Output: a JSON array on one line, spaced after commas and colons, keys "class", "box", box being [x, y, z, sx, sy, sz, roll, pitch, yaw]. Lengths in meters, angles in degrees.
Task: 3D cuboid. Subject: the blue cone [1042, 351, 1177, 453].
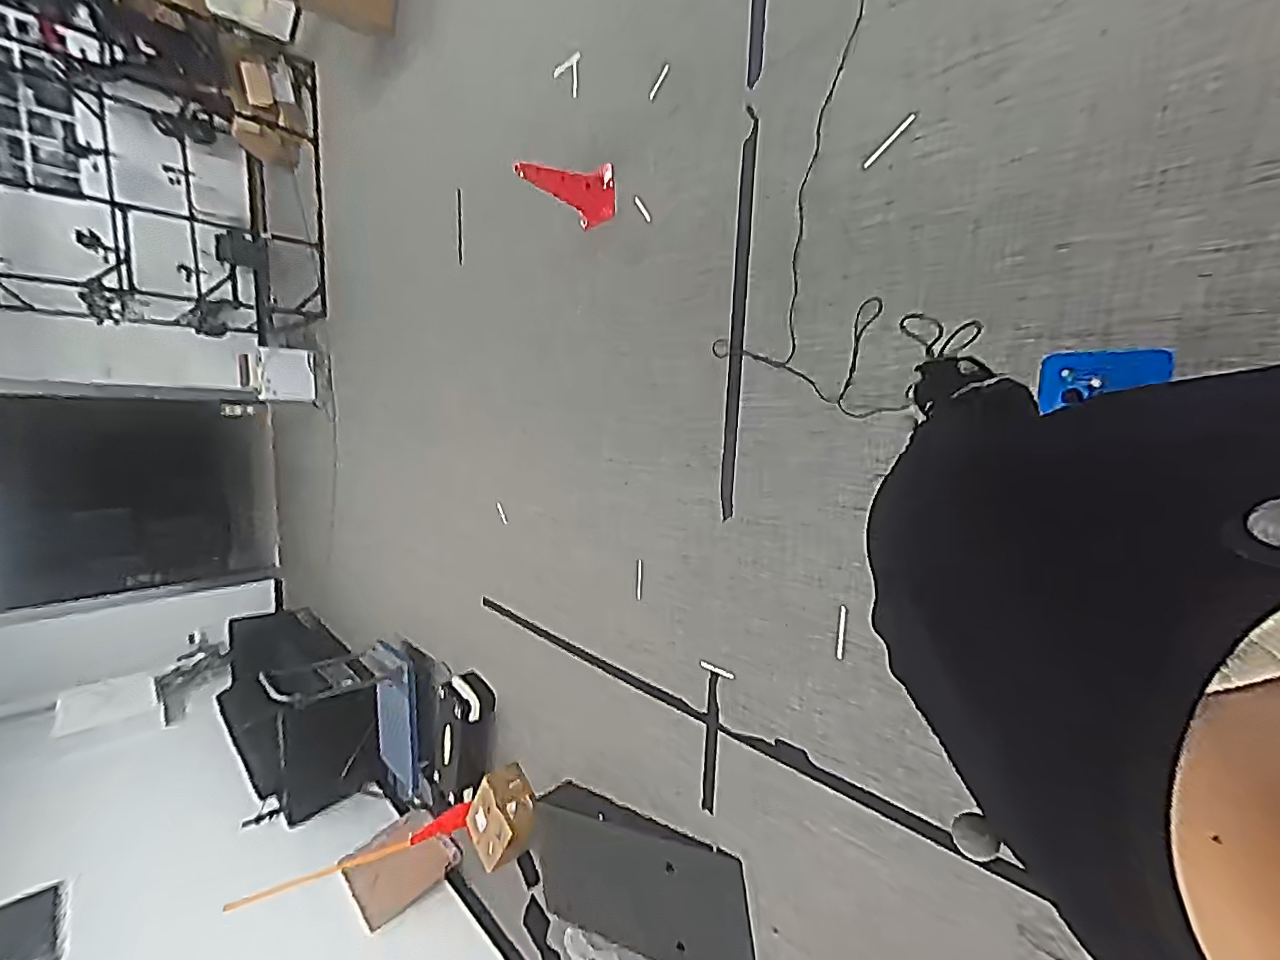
[{"class": "blue cone", "box": [0.788, -0.138, 0.935, 0.192, 0.380, 0.193, 10, 102, 44]}]

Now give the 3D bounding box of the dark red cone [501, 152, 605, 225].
[{"class": "dark red cone", "box": [-0.316, -1.078, 1.933, 0.201, 0.394, 0.202, -1, 93, 45]}]
